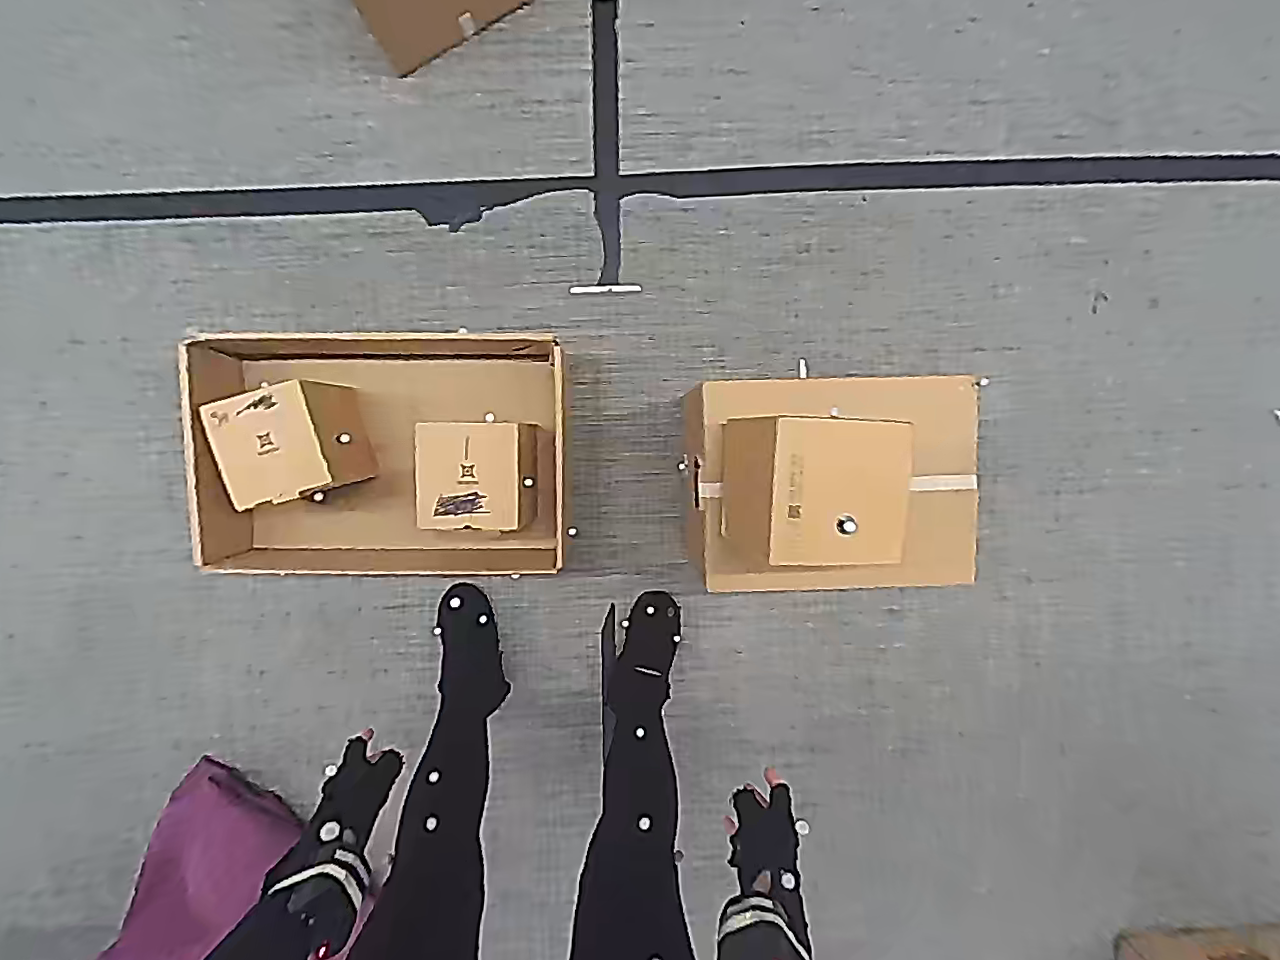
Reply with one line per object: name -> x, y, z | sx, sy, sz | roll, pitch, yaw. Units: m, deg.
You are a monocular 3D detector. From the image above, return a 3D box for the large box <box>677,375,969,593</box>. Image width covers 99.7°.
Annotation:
large box -> 0.285, -0.003, 0.950 | 0.408, 0.320, 0.320 | -2, 95, -2
